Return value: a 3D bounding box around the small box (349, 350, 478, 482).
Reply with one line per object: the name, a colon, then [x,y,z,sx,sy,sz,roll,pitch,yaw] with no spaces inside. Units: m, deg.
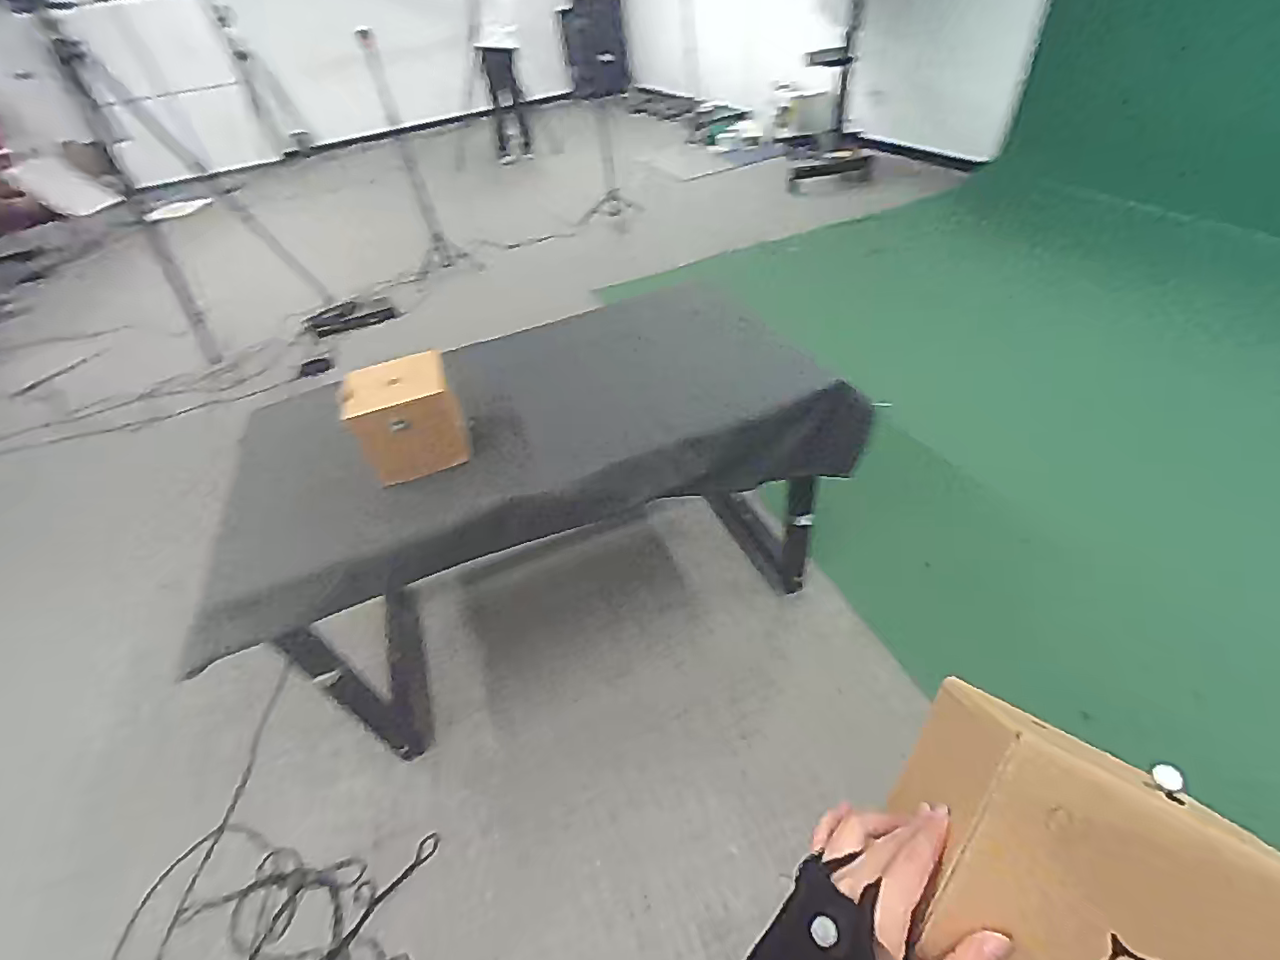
small box: [-0.430,-0.121,1.041,0.179,0.176,0.168,-17,44,-10]
